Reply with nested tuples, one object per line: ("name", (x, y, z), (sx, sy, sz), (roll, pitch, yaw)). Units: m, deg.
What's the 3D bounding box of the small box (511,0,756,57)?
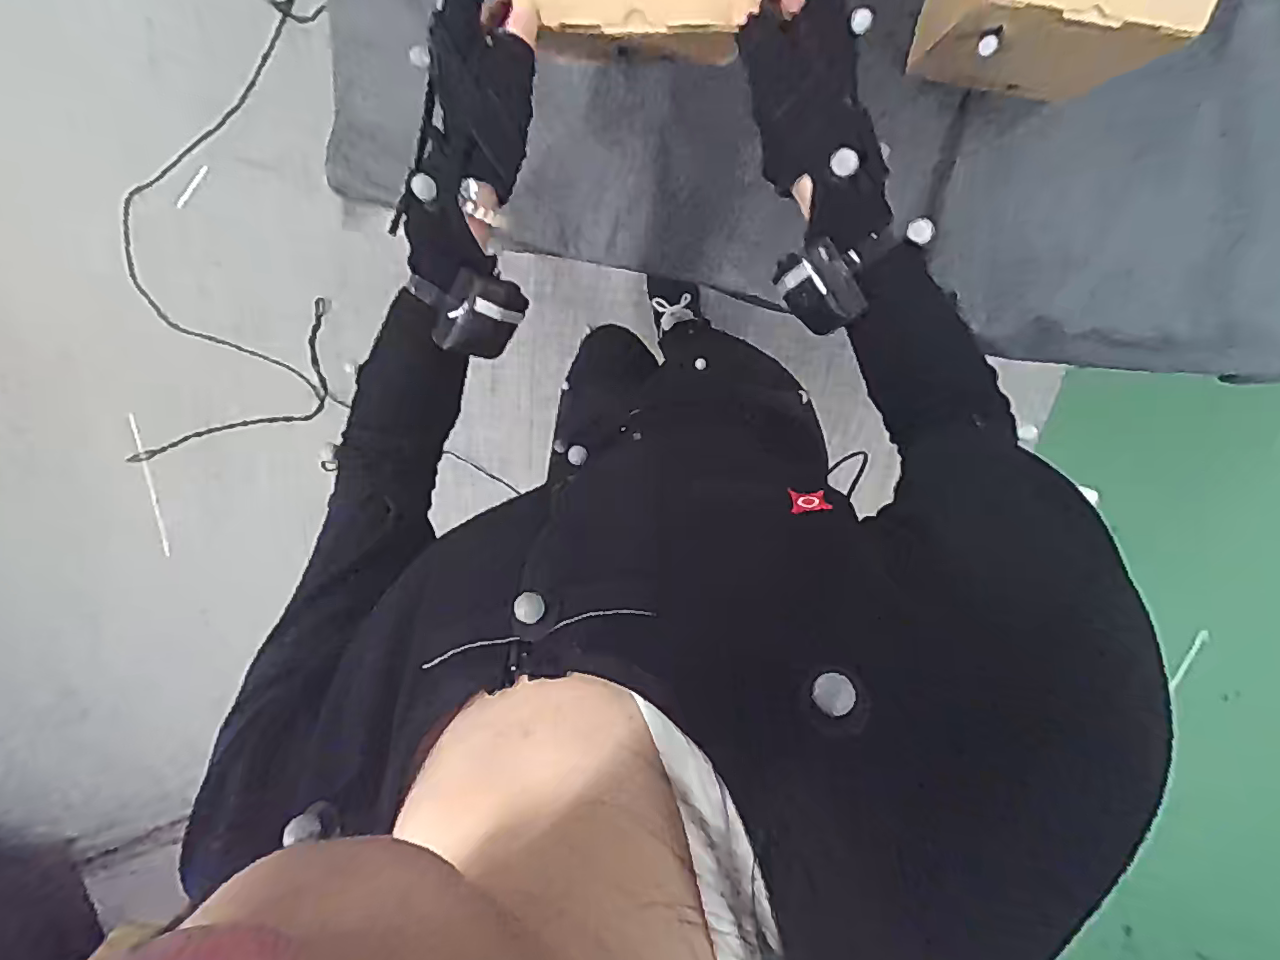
("small box", (-0.002, -0.424, 0.386), (0.168, 0.176, 0.179), (1, 123, 1))
